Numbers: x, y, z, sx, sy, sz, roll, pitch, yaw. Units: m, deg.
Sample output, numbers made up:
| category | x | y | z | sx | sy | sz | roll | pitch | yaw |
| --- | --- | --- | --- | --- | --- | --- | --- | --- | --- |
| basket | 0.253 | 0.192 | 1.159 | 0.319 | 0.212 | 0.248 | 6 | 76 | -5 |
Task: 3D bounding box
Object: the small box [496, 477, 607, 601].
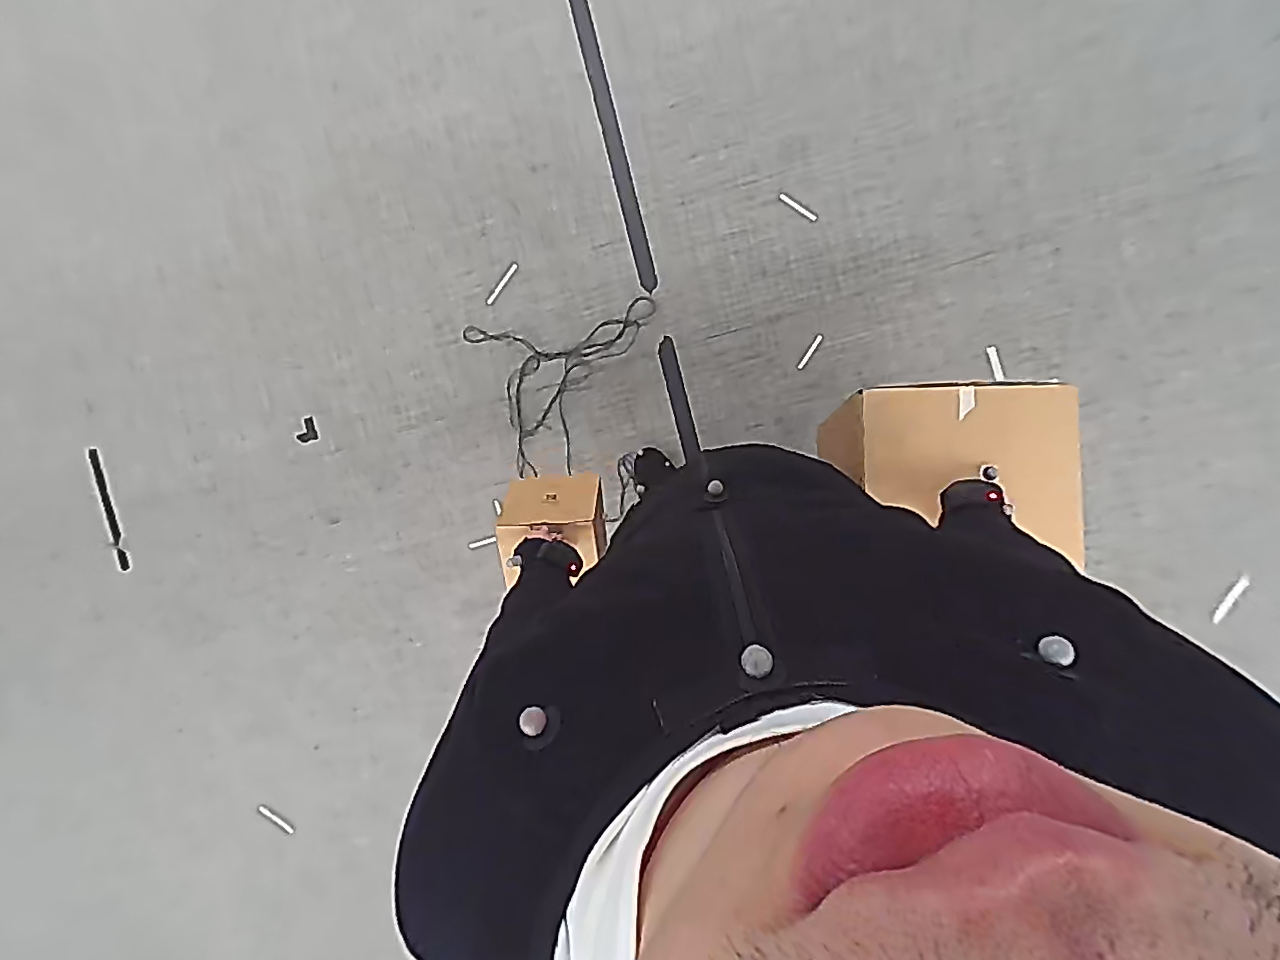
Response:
| category | x | y | z | sx | sy | sz | roll | pitch | yaw |
| --- | --- | --- | --- | --- | --- | --- | --- | --- | --- |
| small box | -0.152 | 0.110 | 0.997 | 0.168 | 0.179 | 0.176 | -3 | 116 | 2 |
